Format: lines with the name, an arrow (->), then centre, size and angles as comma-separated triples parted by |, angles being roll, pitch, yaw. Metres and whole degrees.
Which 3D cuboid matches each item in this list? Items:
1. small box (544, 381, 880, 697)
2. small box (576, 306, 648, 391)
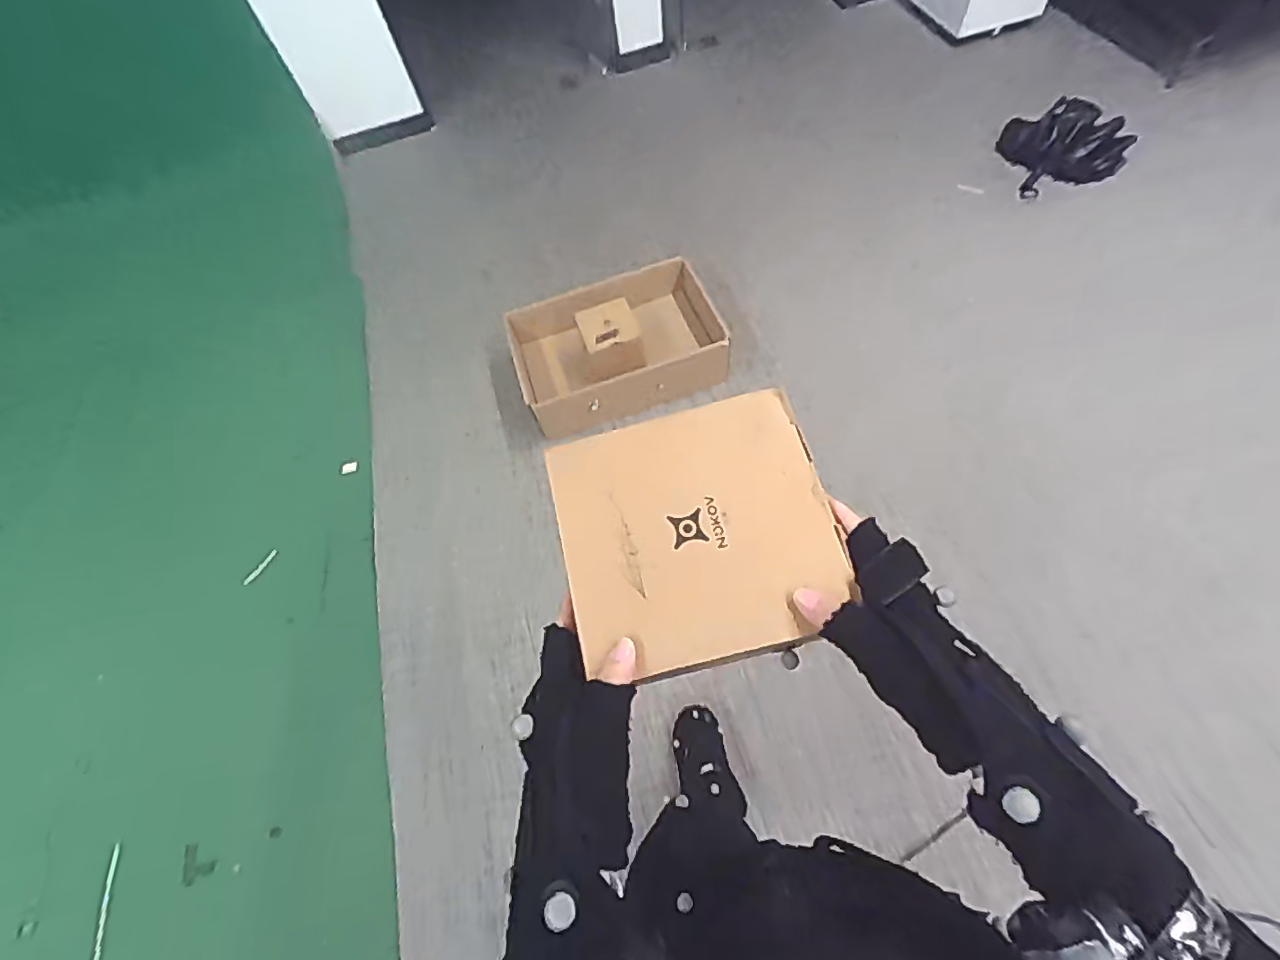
small box -> 0.045, 0.056, 0.418 | 0.179, 0.176, 0.168 | -19, 68, -1
small box -> -0.083, -0.398, 1.675 | 0.168, 0.176, 0.179 | -19, 60, -4
